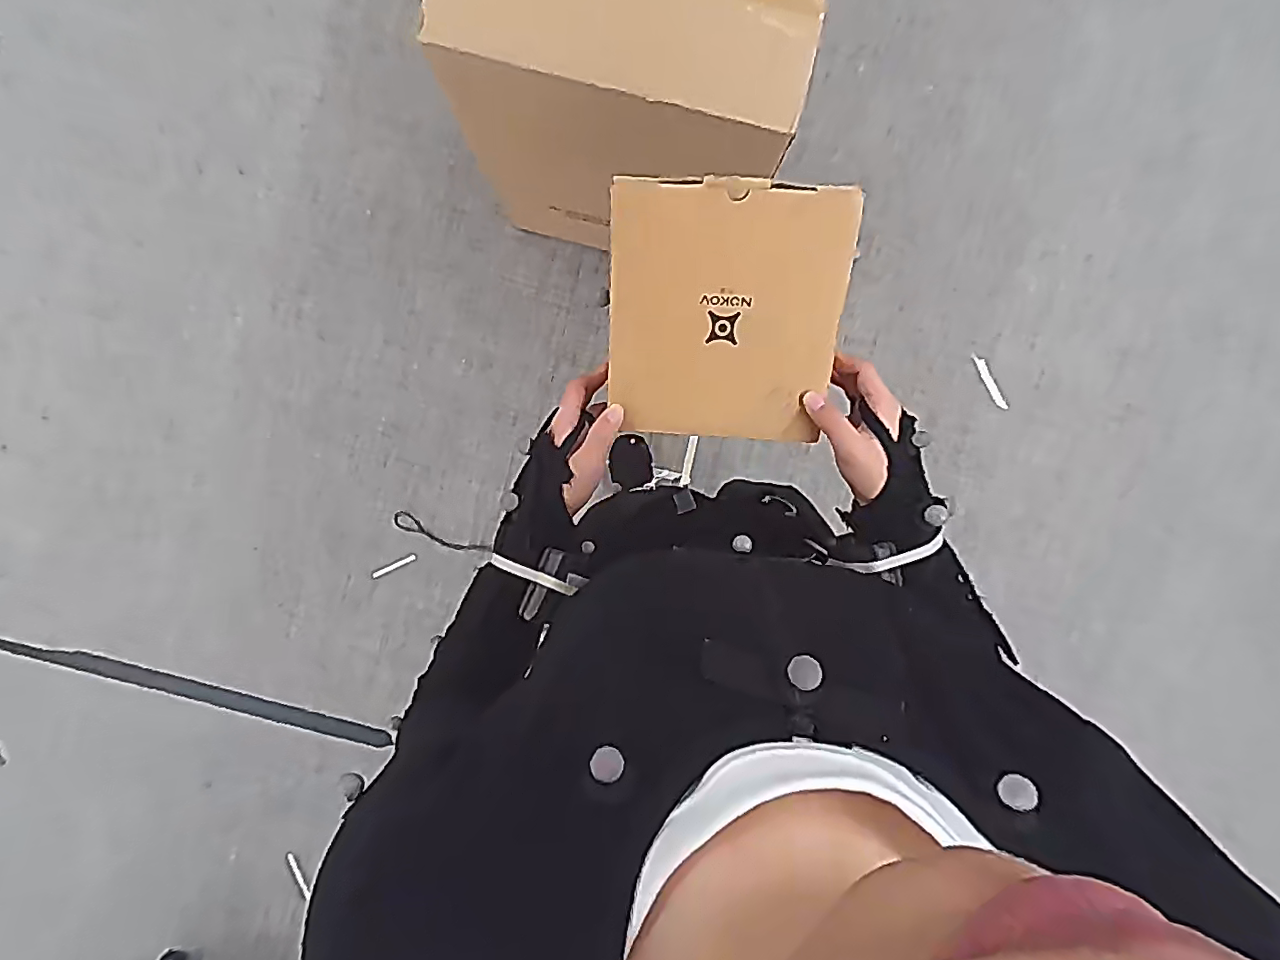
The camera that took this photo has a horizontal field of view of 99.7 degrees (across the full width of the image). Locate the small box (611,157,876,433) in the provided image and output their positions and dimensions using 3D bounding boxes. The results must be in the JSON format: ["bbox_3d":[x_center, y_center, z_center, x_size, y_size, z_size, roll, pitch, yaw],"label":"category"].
[{"bbox_3d":[0.069,-0.152,0.448,0.168,0.176,0.179,4,113,2],"label":"small box"}]

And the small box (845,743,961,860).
[{"bbox_3d":[0.638,0.779,1.330,0.179,0.176,0.168,17,90,-2],"label":"small box"}]
